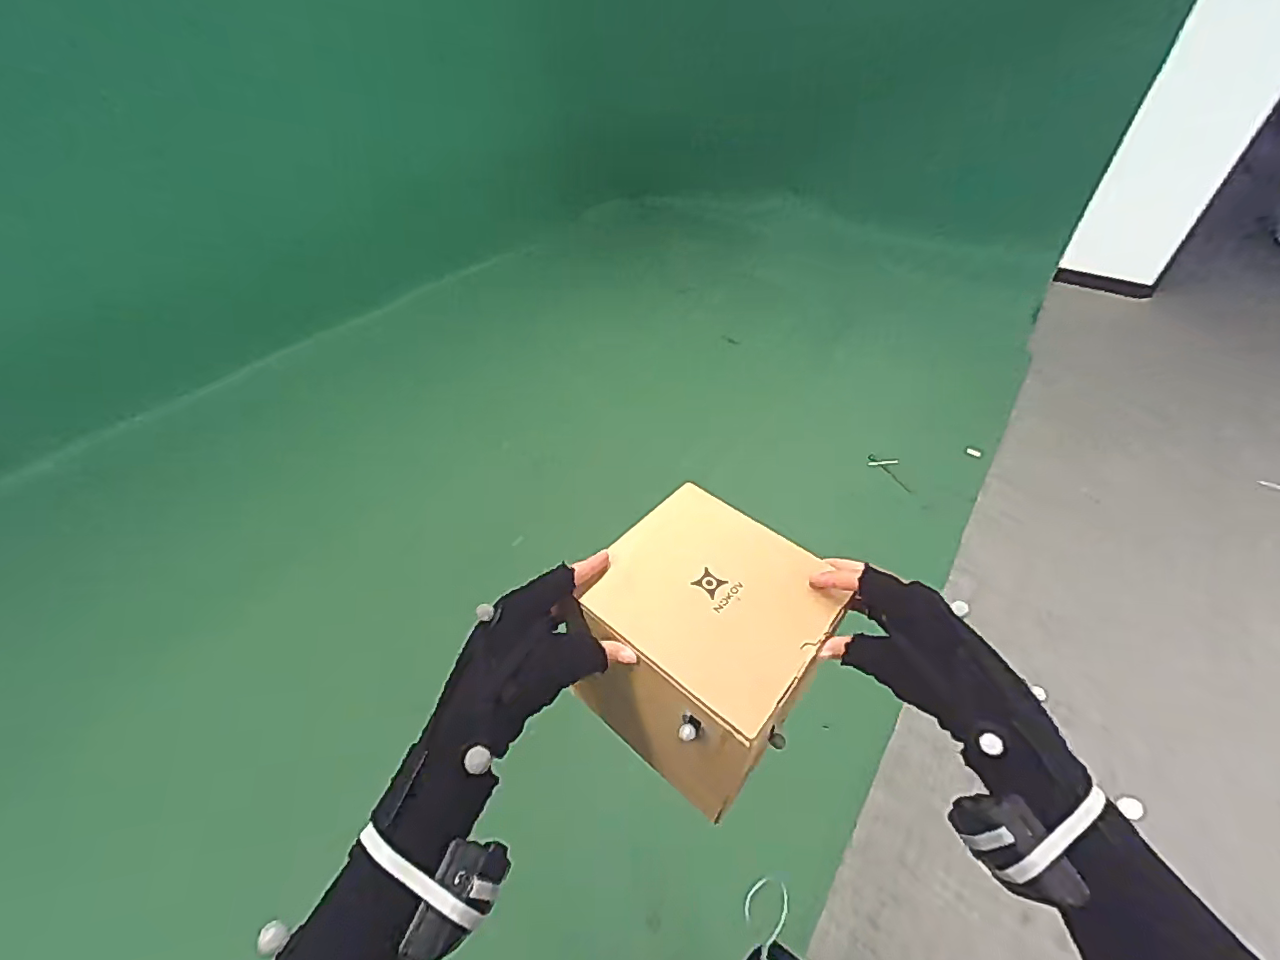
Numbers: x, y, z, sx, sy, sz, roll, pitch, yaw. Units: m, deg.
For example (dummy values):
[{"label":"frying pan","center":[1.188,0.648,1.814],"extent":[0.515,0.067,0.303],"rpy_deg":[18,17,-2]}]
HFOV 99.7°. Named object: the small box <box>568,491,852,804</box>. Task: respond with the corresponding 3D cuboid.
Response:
[{"label":"small box","center":[0.052,0.147,0.488],"extent":[0.179,0.176,0.168],"rpy_deg":[32,49,26]}]
